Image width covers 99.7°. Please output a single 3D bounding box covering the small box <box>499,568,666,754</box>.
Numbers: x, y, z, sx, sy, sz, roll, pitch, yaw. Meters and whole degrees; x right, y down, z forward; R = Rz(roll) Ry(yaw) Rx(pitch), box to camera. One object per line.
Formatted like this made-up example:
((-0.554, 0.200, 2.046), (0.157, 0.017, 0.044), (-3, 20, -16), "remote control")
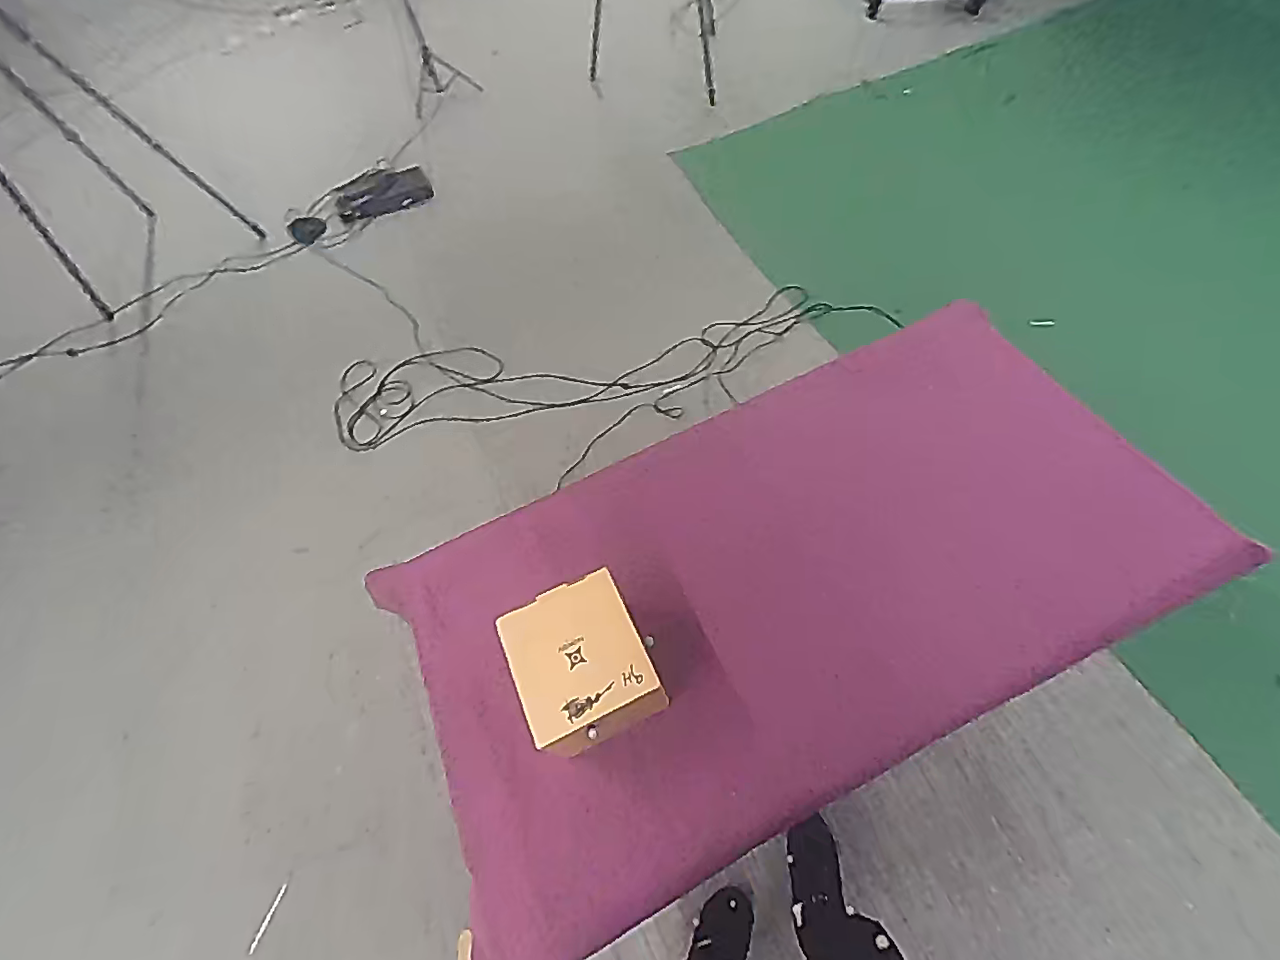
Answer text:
((-0.074, 0.258, 0.756), (0.168, 0.176, 0.179), (-25, 59, -7), "small box")
